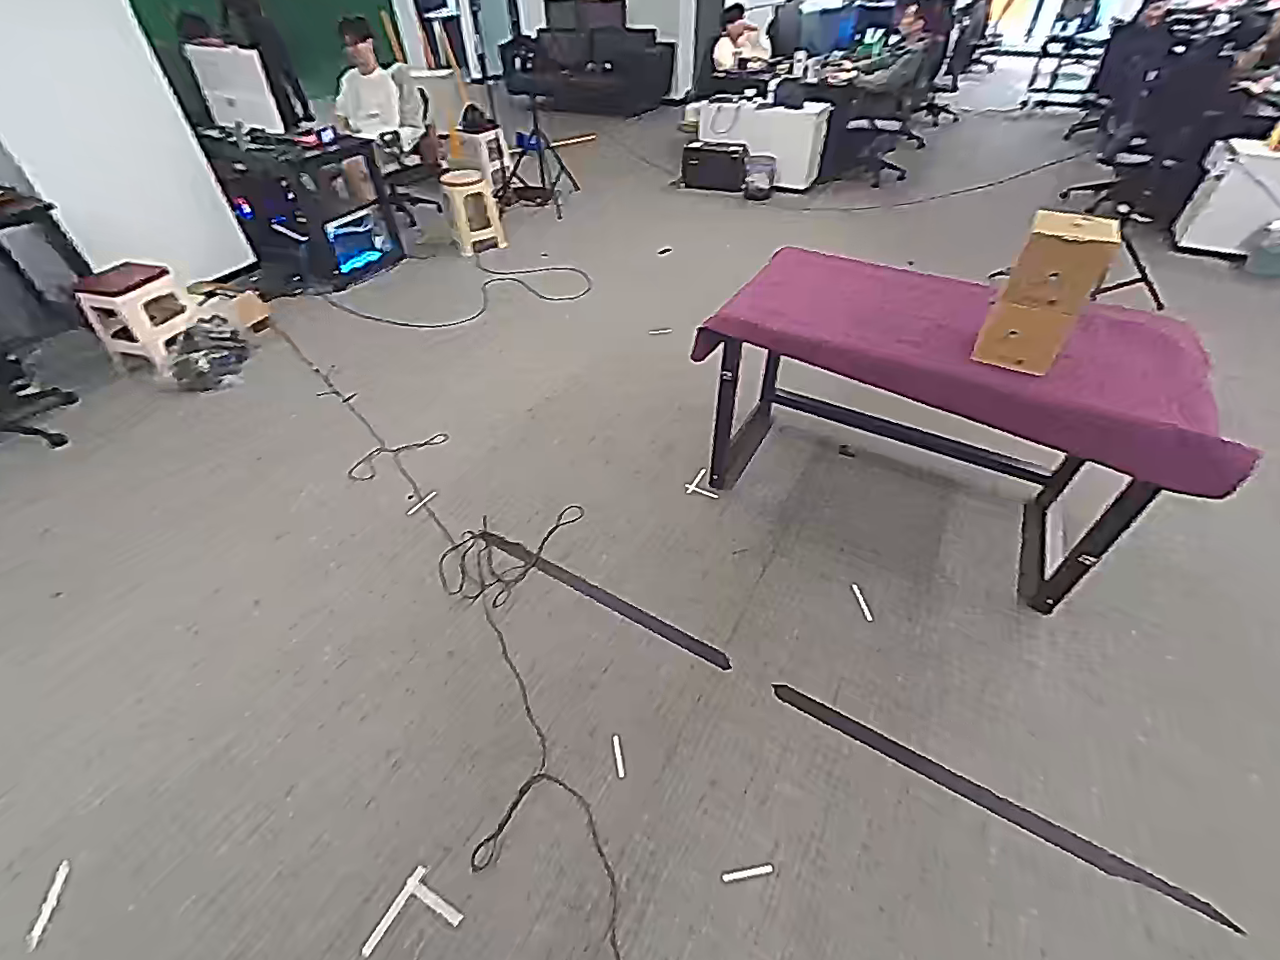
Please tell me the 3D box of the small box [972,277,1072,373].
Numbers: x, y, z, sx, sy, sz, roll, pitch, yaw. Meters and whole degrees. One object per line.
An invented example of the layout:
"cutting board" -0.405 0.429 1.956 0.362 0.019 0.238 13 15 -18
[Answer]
"small box" 0.987 -0.400 1.401 0.168 0.176 0.179 22 48 22

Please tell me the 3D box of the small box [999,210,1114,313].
"small box" 0.988 -0.521 1.291 0.168 0.176 0.179 22 49 23
